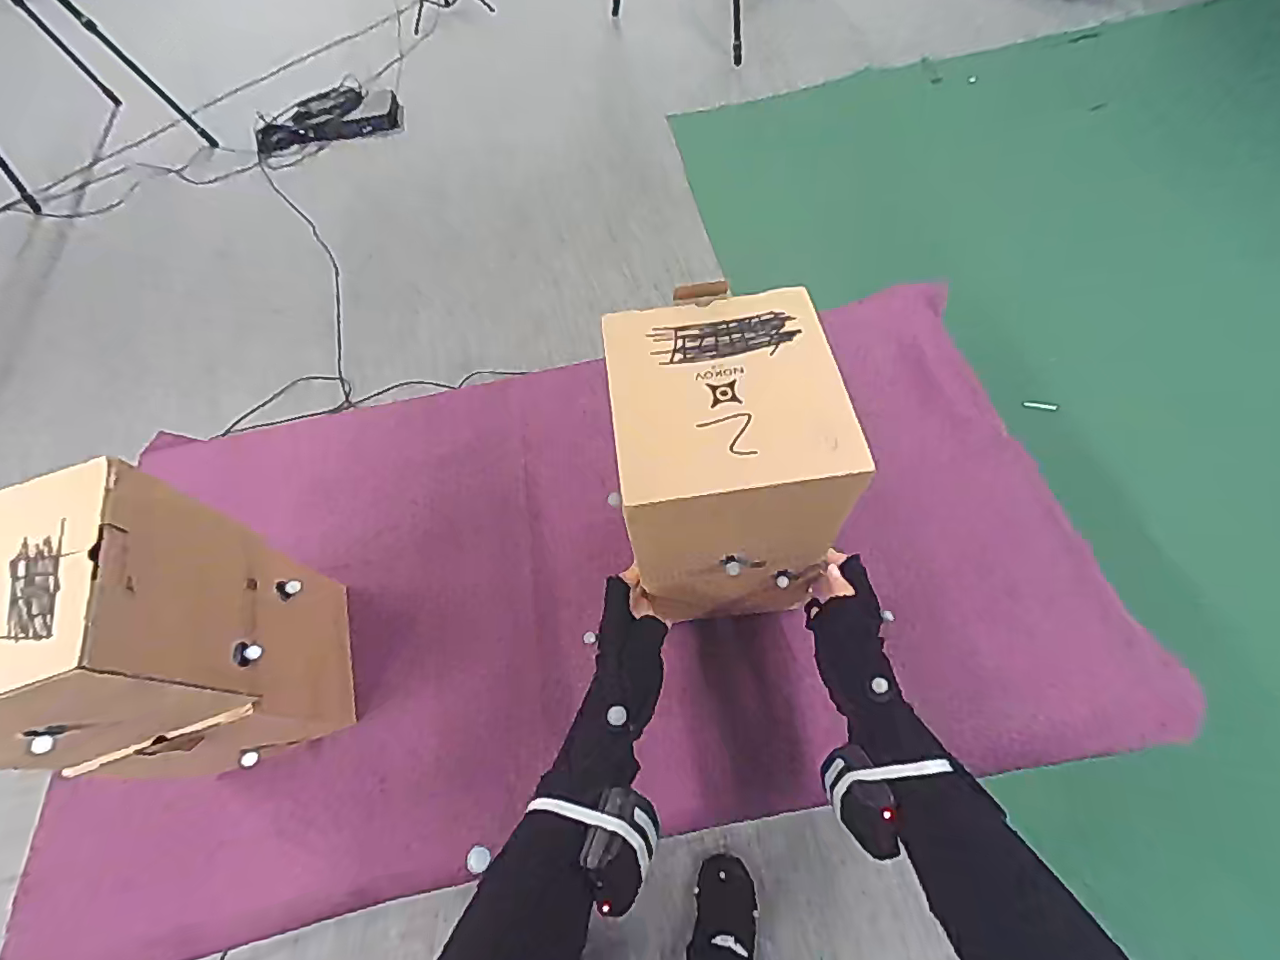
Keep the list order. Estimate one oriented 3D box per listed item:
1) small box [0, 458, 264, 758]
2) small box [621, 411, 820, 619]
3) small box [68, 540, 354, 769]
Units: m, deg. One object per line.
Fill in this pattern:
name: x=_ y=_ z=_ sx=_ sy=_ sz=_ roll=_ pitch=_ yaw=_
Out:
small box: x=-0.445 y=0.111 z=0.437 sx=0.179 sy=0.176 sz=0.168 roll=-17 pitch=60 yaw=-3
small box: x=0.081 y=0.048 z=0.602 sx=0.179 sy=0.176 sz=0.168 roll=-8 pitch=60 yaw=2
small box: x=-0.435 y=0.193 z=0.582 sx=0.168 sy=0.176 sz=0.179 roll=-19 pitch=62 yaw=-3
